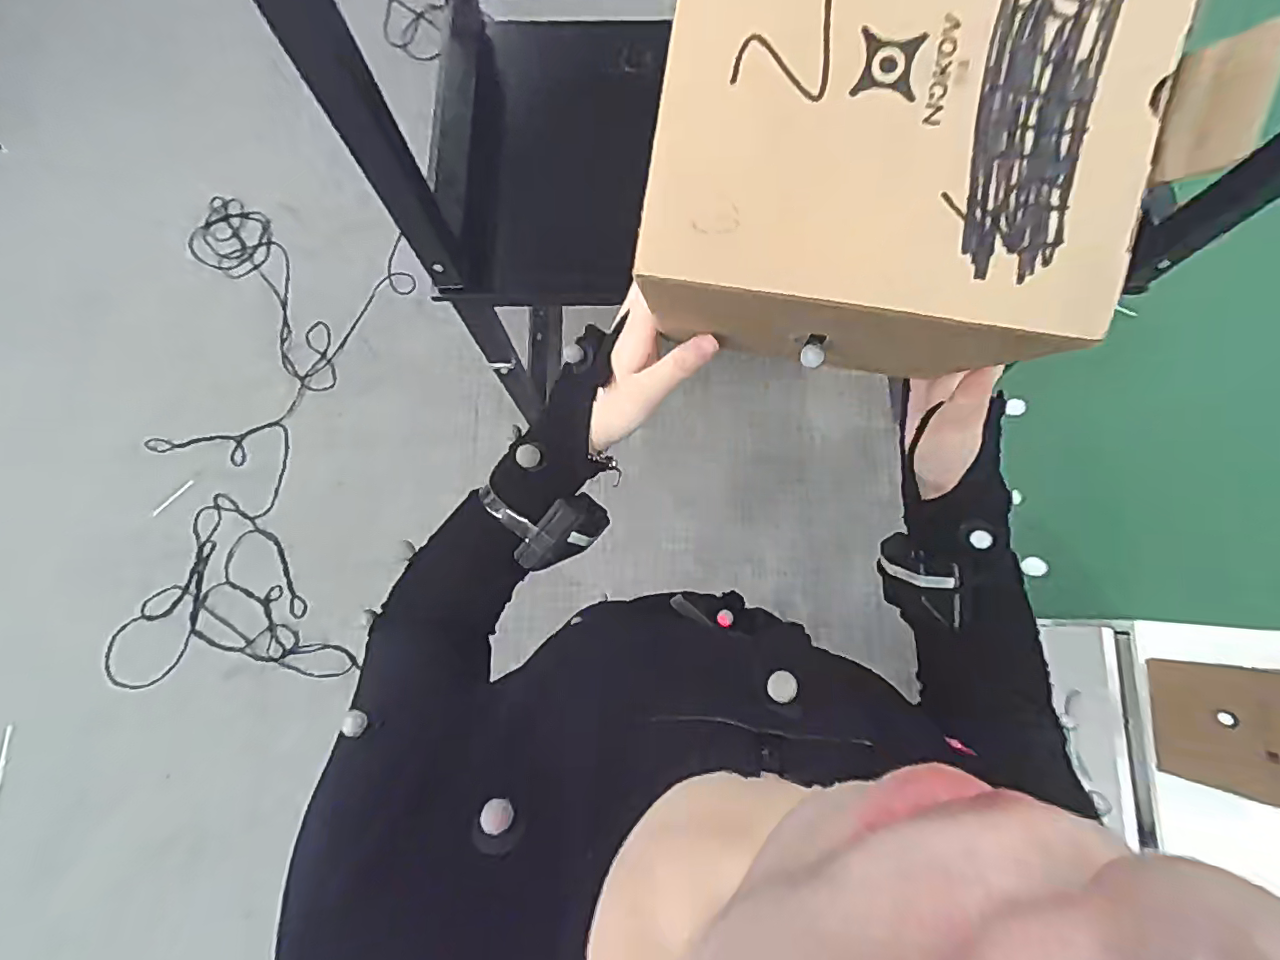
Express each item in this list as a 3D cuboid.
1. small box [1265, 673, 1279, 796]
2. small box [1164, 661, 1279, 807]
[{"bbox_3d":[0.888,0.318,0.617,0.179,0.176,0.168,4,77,1],"label":"small box"},{"bbox_3d":[0.907,0.363,0.772,0.168,0.176,0.179,7,77,2],"label":"small box"}]
